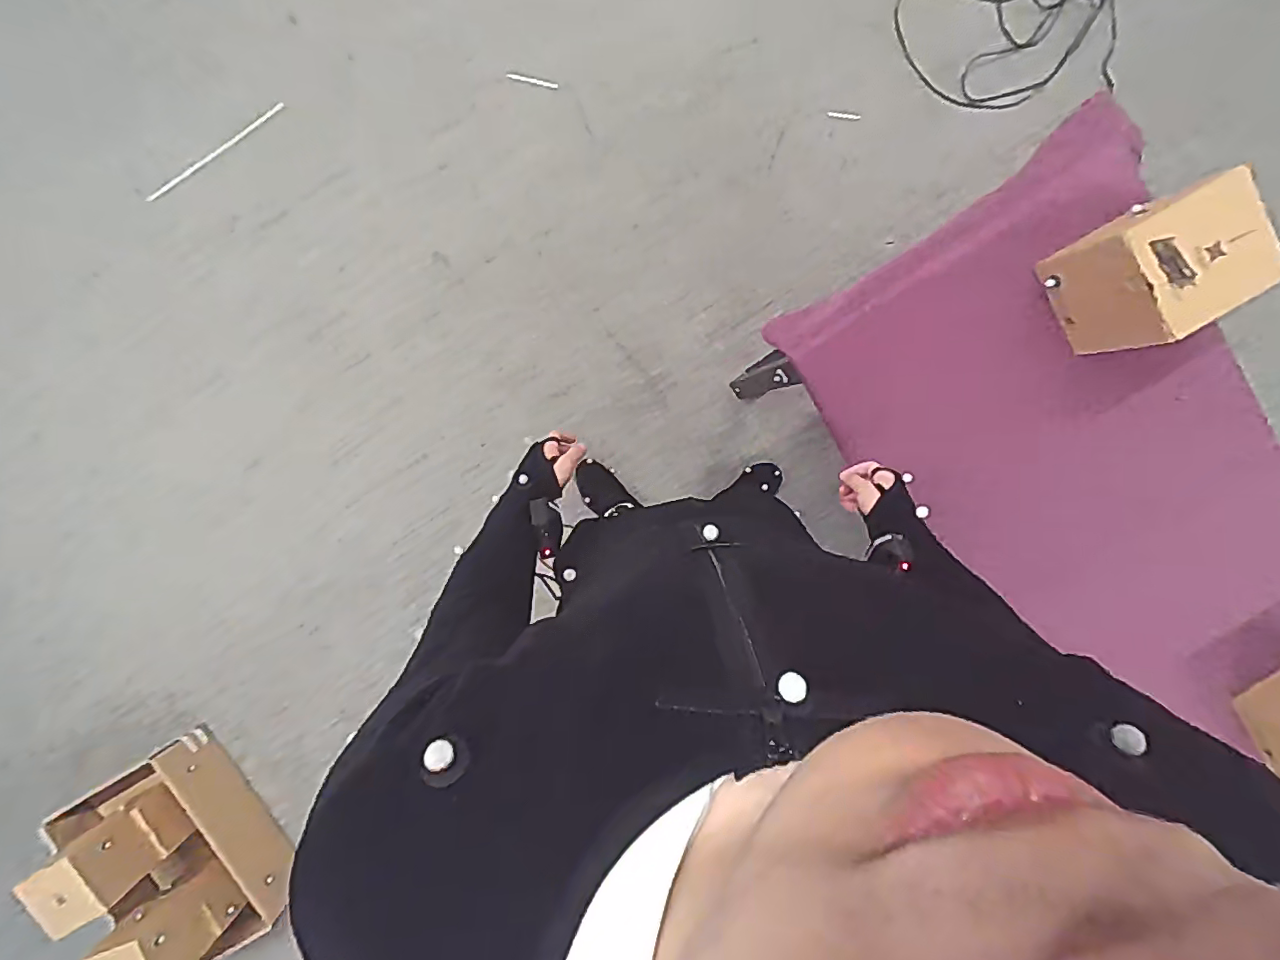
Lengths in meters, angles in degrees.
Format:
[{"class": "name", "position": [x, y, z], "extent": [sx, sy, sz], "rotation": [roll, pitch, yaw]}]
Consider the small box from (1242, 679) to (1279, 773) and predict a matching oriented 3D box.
[{"class": "small box", "position": [1.166, 0.418, 0.873], "extent": [0.179, 0.176, 0.168], "rotation": [-33, 94, 2]}]

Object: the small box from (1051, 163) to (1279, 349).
[{"class": "small box", "position": [0.754, -0.309, 0.792], "extent": [0.179, 0.176, 0.168], "rotation": [-30, 96, 3]}]

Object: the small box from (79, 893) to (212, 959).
[{"class": "small box", "position": [-1.299, 1.245, 1.432], "extent": [0.168, 0.176, 0.179], "rotation": [-21, 94, 2]}]
